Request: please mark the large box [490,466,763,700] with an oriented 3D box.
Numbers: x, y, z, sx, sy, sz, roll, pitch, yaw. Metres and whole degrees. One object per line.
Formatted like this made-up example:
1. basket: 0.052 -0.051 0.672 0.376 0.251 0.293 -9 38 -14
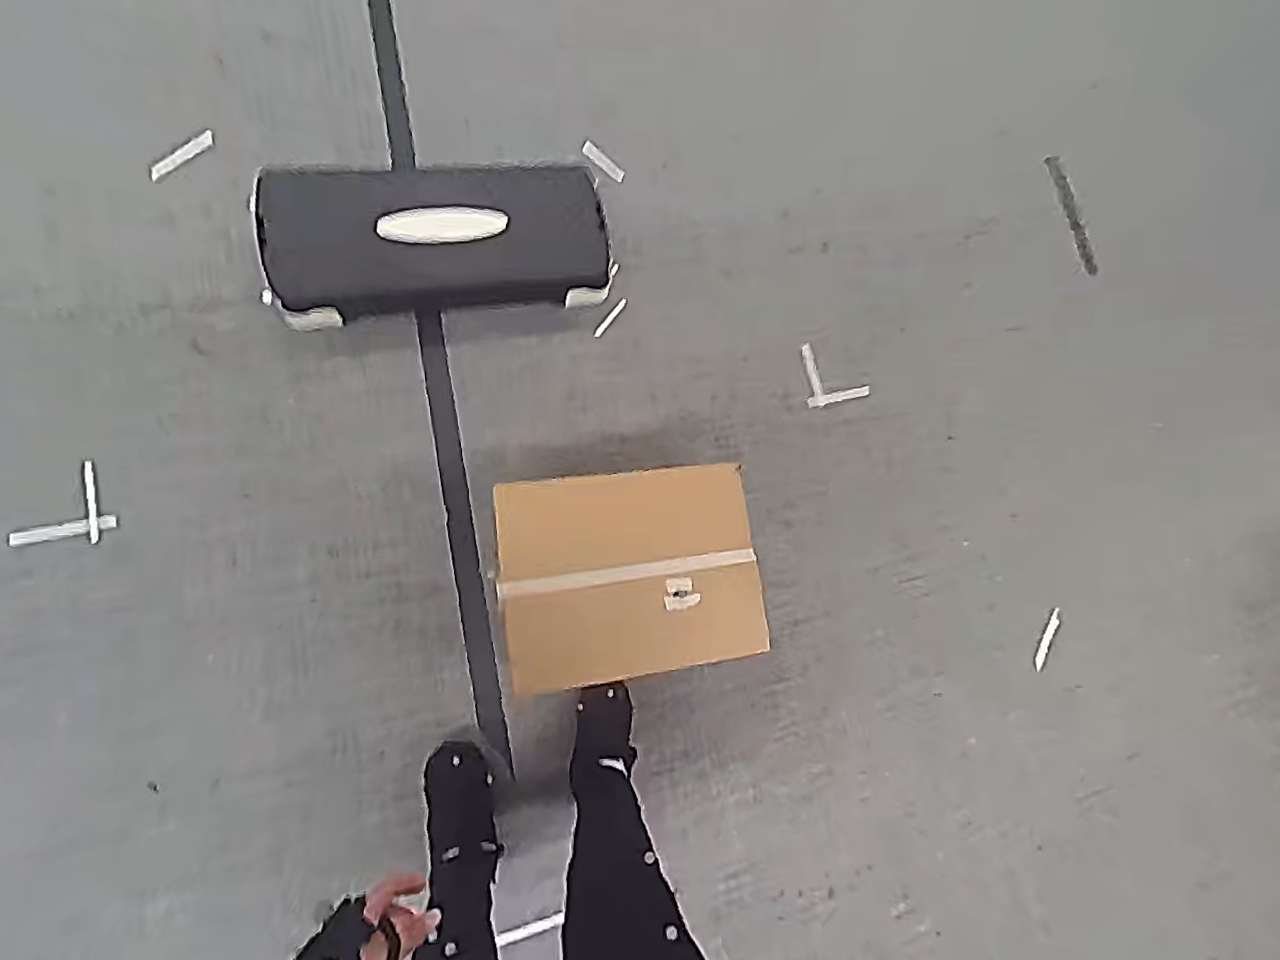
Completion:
1. large box: -0.048 0.173 0.985 0.408 0.320 0.320 -6 82 -15
